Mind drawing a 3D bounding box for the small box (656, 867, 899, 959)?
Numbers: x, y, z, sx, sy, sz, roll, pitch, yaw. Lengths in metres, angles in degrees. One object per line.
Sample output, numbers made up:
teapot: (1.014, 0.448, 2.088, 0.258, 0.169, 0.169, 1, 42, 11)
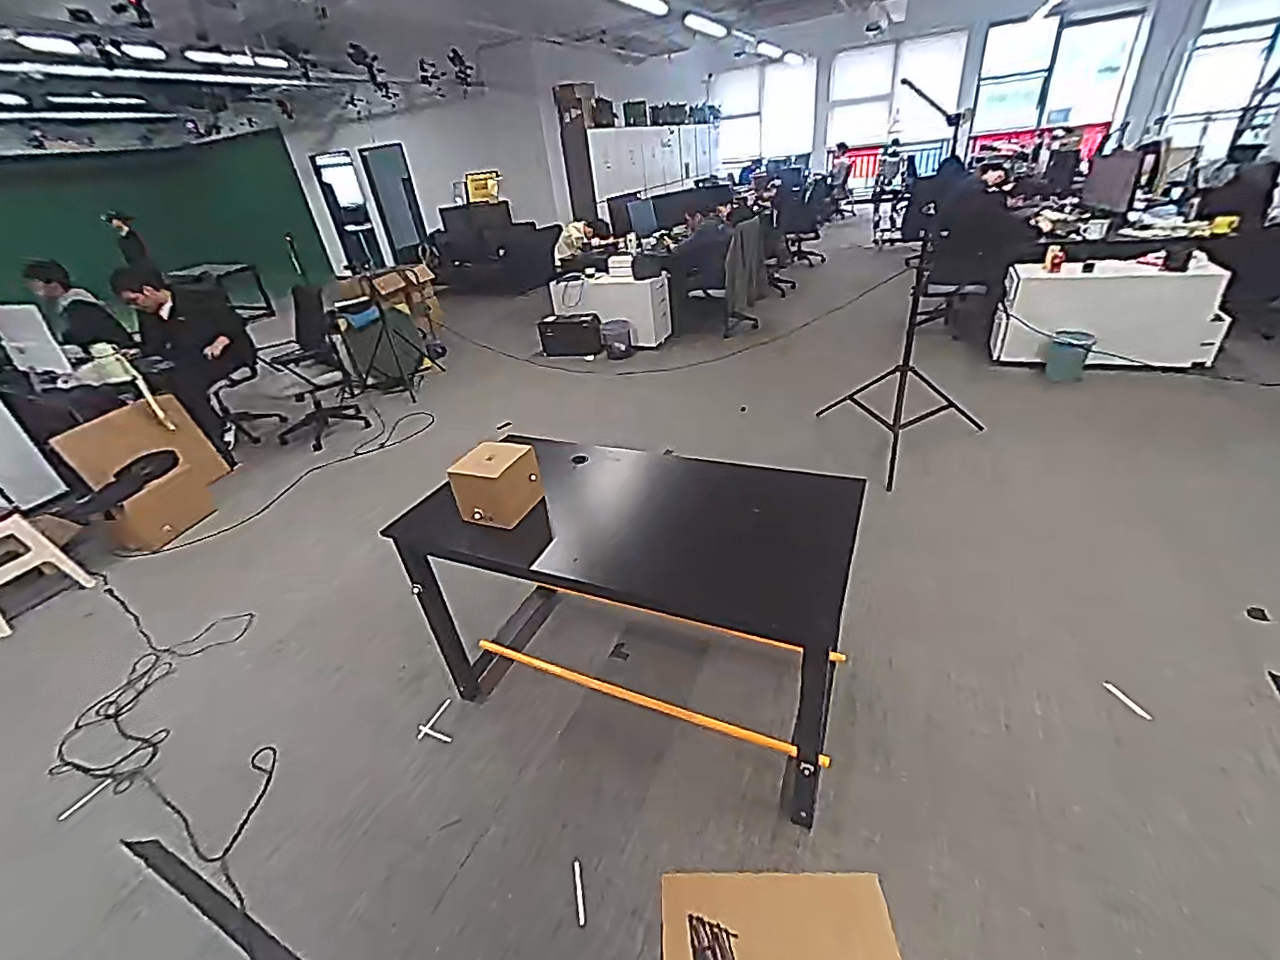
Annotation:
small box: (0.104, 0.427, 0.420, 0.179, 0.176, 0.168, -2, 37, 2)

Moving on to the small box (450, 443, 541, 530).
small box: (-0.390, 0.015, 1.499, 0.168, 0.176, 0.179, 6, 34, 22)
